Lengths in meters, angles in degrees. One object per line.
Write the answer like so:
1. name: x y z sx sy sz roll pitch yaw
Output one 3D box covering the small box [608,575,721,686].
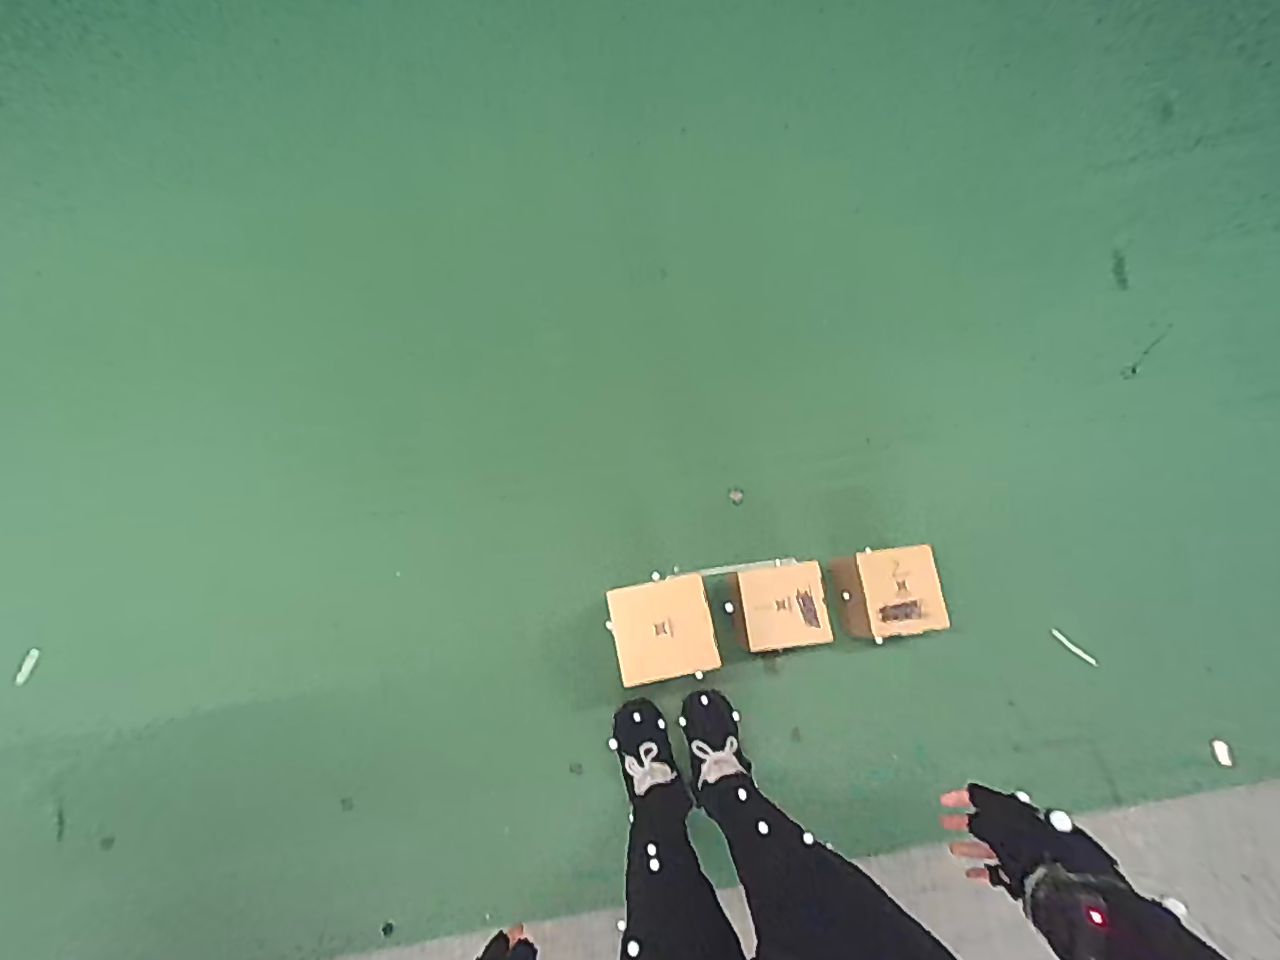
1. small box: 0.042 0.281 1.023 0.179 0.176 0.168 -11 77 -3
